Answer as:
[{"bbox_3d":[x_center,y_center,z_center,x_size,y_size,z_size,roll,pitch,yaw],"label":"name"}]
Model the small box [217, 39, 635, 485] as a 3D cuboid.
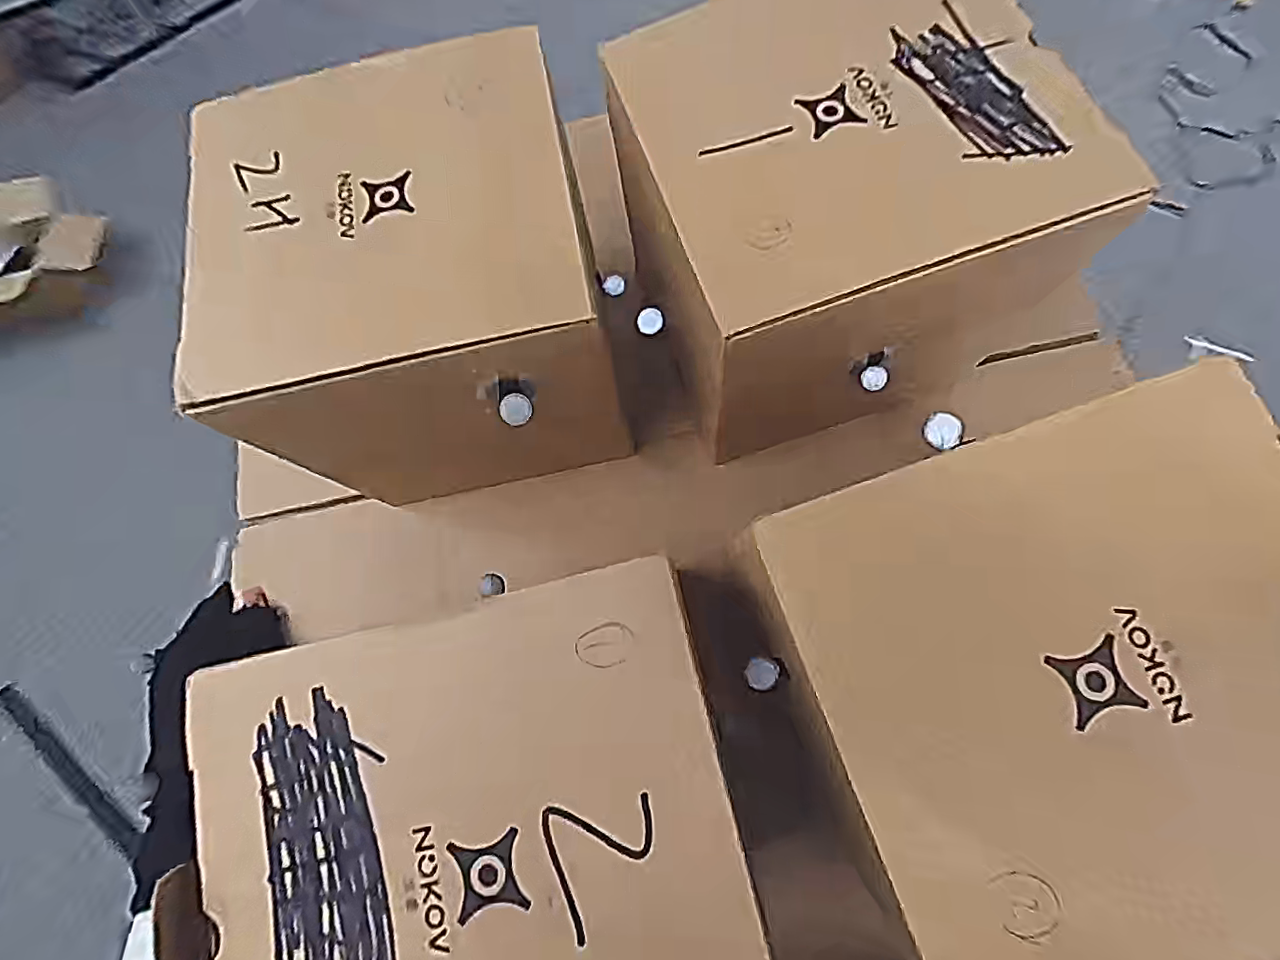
[{"bbox_3d":[-0.101,-0.106,0.327,0.179,0.176,0.168,-10,73,3],"label":"small box"}]
